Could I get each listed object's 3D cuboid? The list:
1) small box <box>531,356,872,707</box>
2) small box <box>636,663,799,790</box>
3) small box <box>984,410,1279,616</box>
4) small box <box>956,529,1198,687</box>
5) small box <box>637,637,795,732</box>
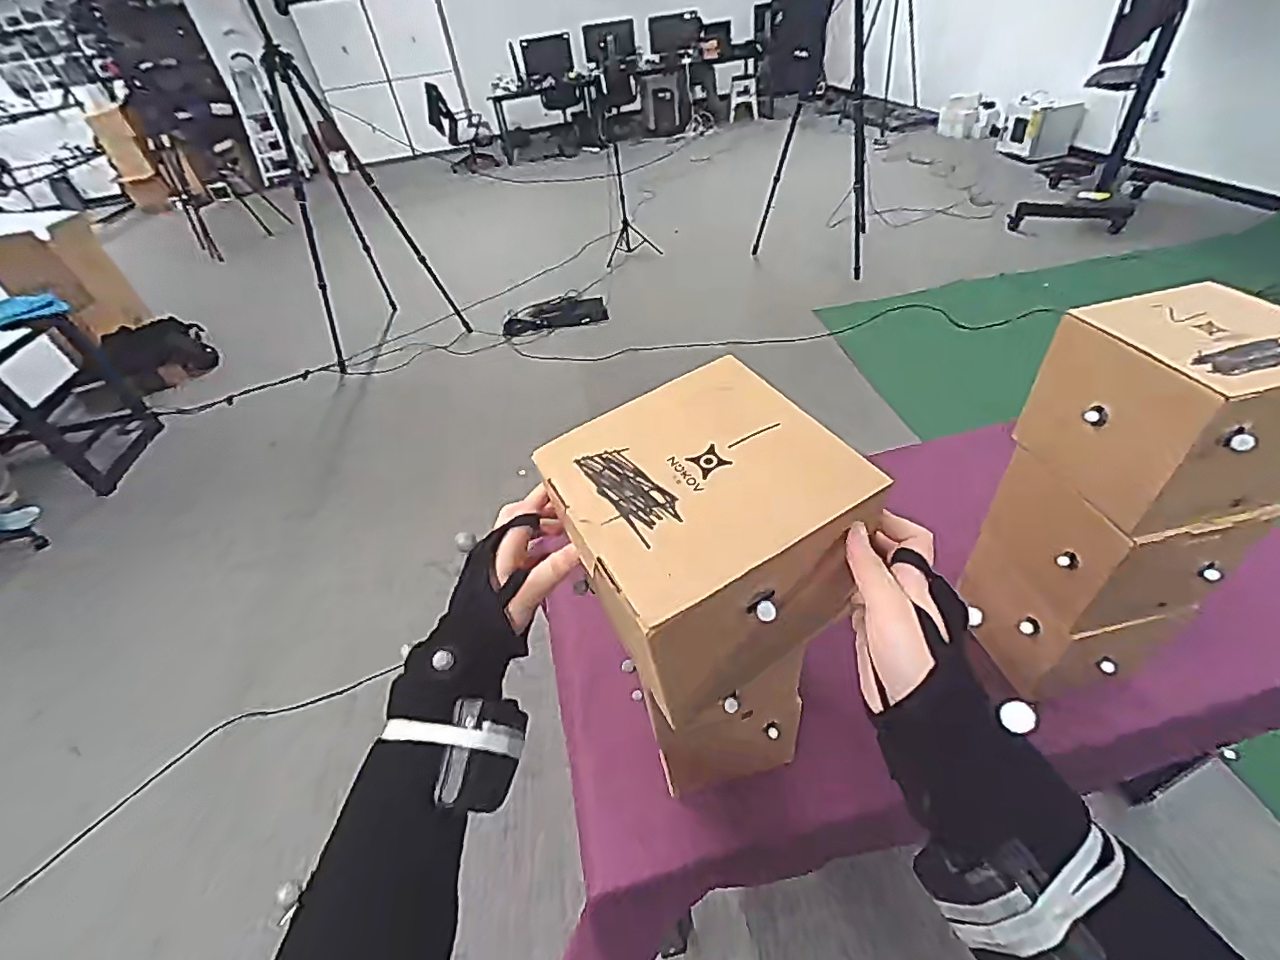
[{"bbox_3d":[0.044,0.041,0.418,0.179,0.176,0.168,-28,50,-13],"label":"small box"},{"bbox_3d":[0.097,0.287,0.730,0.179,0.176,0.168,-15,41,-6],"label":"small box"},{"bbox_3d":[0.562,0.045,0.651,0.168,0.176,0.179,-12,41,-2],"label":"small box"},{"bbox_3d":[0.585,0.167,0.757,0.168,0.176,0.179,-13,41,-3],"label":"small box"},{"bbox_3d":[0.070,0.165,0.623,0.168,0.176,0.179,-15,42,-6],"label":"small box"}]
